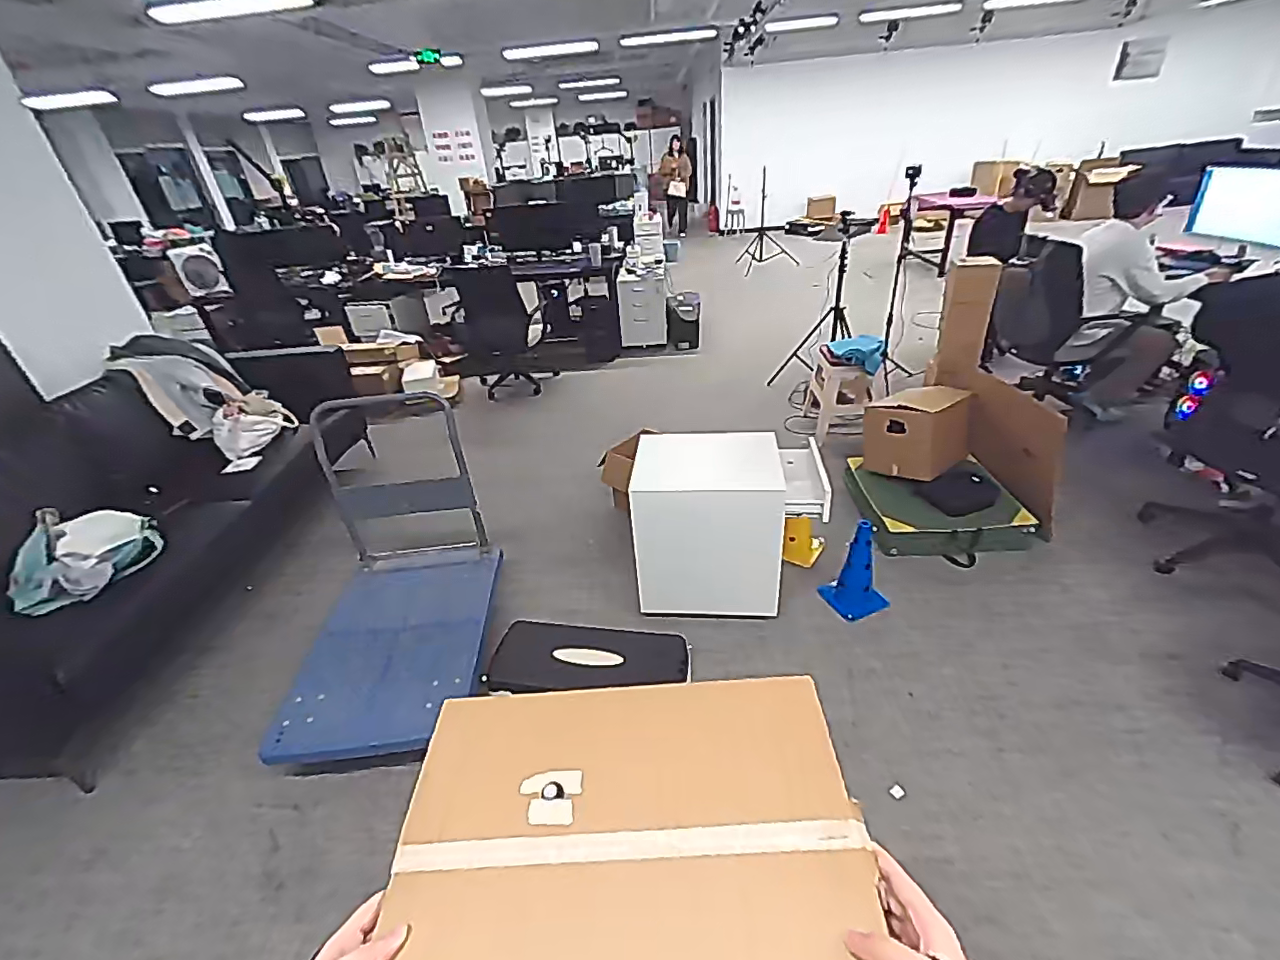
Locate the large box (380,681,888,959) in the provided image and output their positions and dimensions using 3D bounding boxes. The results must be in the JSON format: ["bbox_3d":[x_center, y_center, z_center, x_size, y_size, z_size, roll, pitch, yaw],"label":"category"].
[{"bbox_3d":[0.007,0.450,0.561,0.408,0.320,0.320,-7,35,4],"label":"large box"}]
